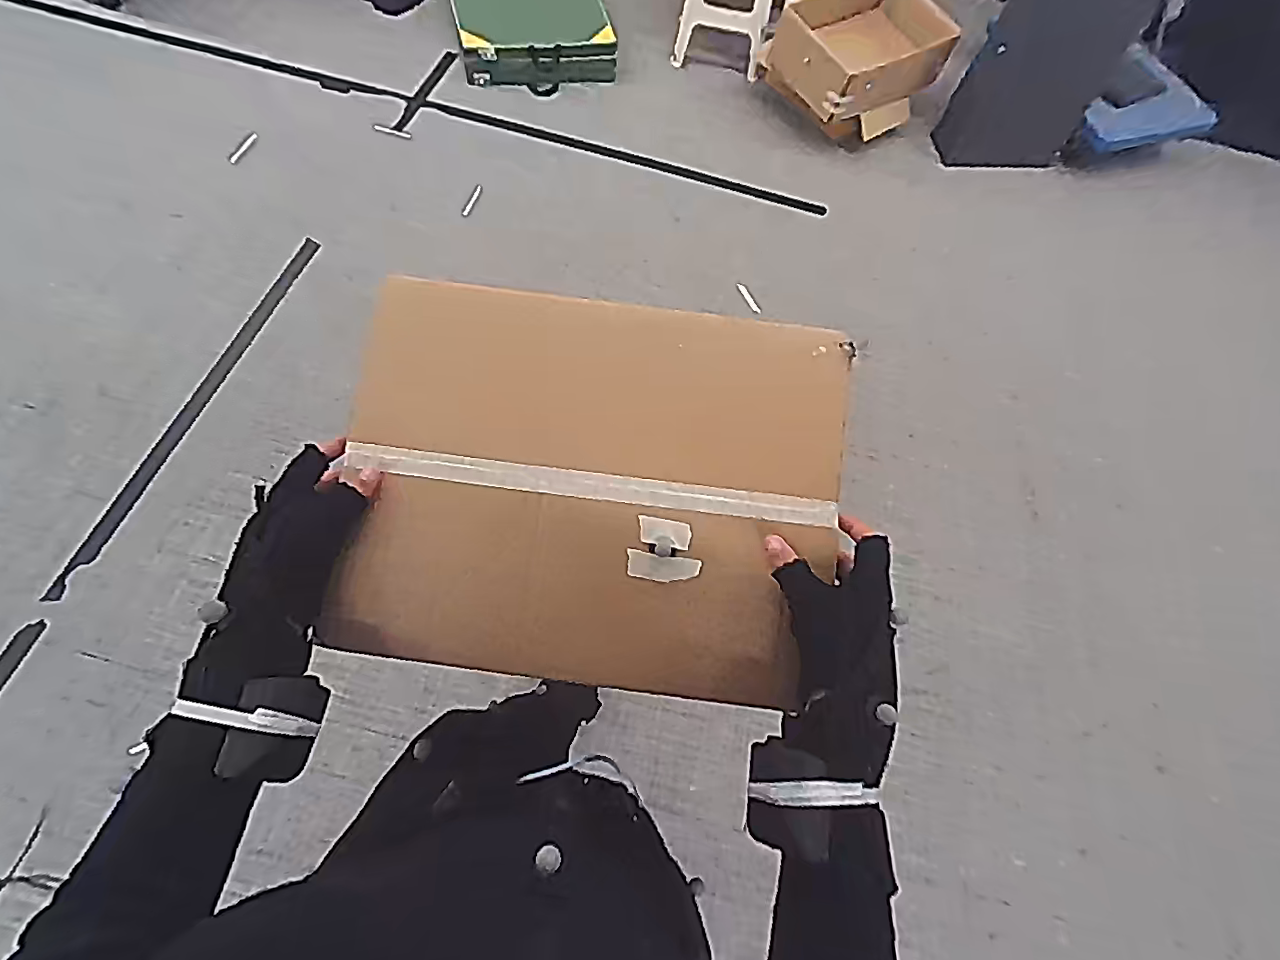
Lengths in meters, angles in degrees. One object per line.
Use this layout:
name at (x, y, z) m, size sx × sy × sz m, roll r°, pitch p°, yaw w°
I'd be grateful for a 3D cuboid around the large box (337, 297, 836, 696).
large box at (-0.042, 0.025, 0.611) m, size 0.408 × 0.320 × 0.320 m, roll 7°, pitch 85°, yaw 0°
